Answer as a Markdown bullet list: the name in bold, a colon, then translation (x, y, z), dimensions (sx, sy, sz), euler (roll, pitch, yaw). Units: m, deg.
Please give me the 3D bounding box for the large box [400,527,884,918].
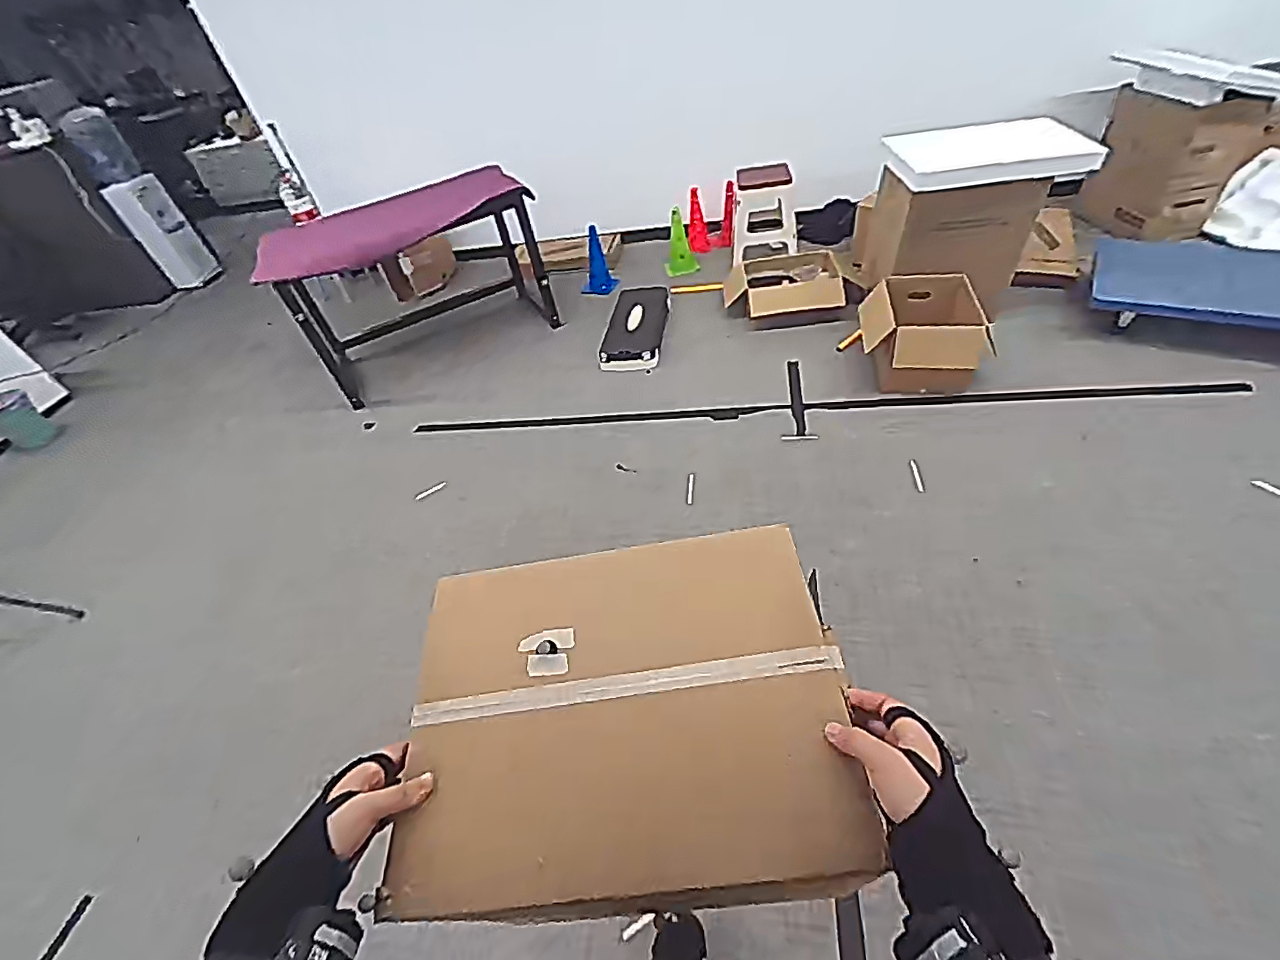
- **large box**: translation (0.012, 0.297, 0.636), dimensions (0.408, 0.320, 0.320), euler (-11, 48, 6)
